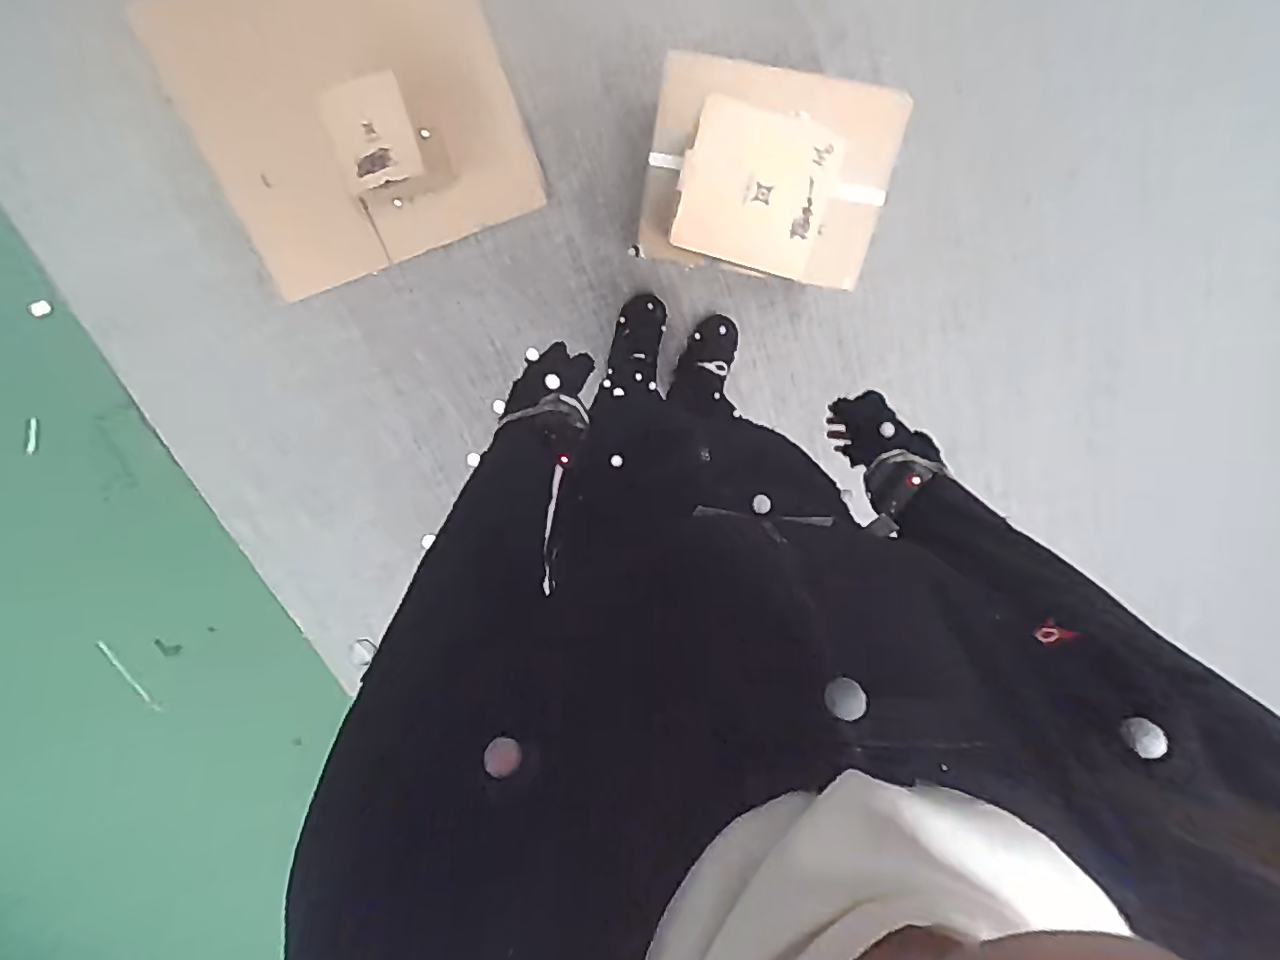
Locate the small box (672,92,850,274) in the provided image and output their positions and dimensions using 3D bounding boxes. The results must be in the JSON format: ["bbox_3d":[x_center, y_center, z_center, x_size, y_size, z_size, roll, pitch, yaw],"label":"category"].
[{"bbox_3d":[0.144,-0.375,0.718,0.179,0.176,0.168,12,110,-2],"label":"small box"}]

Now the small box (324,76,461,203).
[{"bbox_3d":[-0.494,-0.683,1.110,0.168,0.176,0.179,-11,109,8],"label":"small box"}]
